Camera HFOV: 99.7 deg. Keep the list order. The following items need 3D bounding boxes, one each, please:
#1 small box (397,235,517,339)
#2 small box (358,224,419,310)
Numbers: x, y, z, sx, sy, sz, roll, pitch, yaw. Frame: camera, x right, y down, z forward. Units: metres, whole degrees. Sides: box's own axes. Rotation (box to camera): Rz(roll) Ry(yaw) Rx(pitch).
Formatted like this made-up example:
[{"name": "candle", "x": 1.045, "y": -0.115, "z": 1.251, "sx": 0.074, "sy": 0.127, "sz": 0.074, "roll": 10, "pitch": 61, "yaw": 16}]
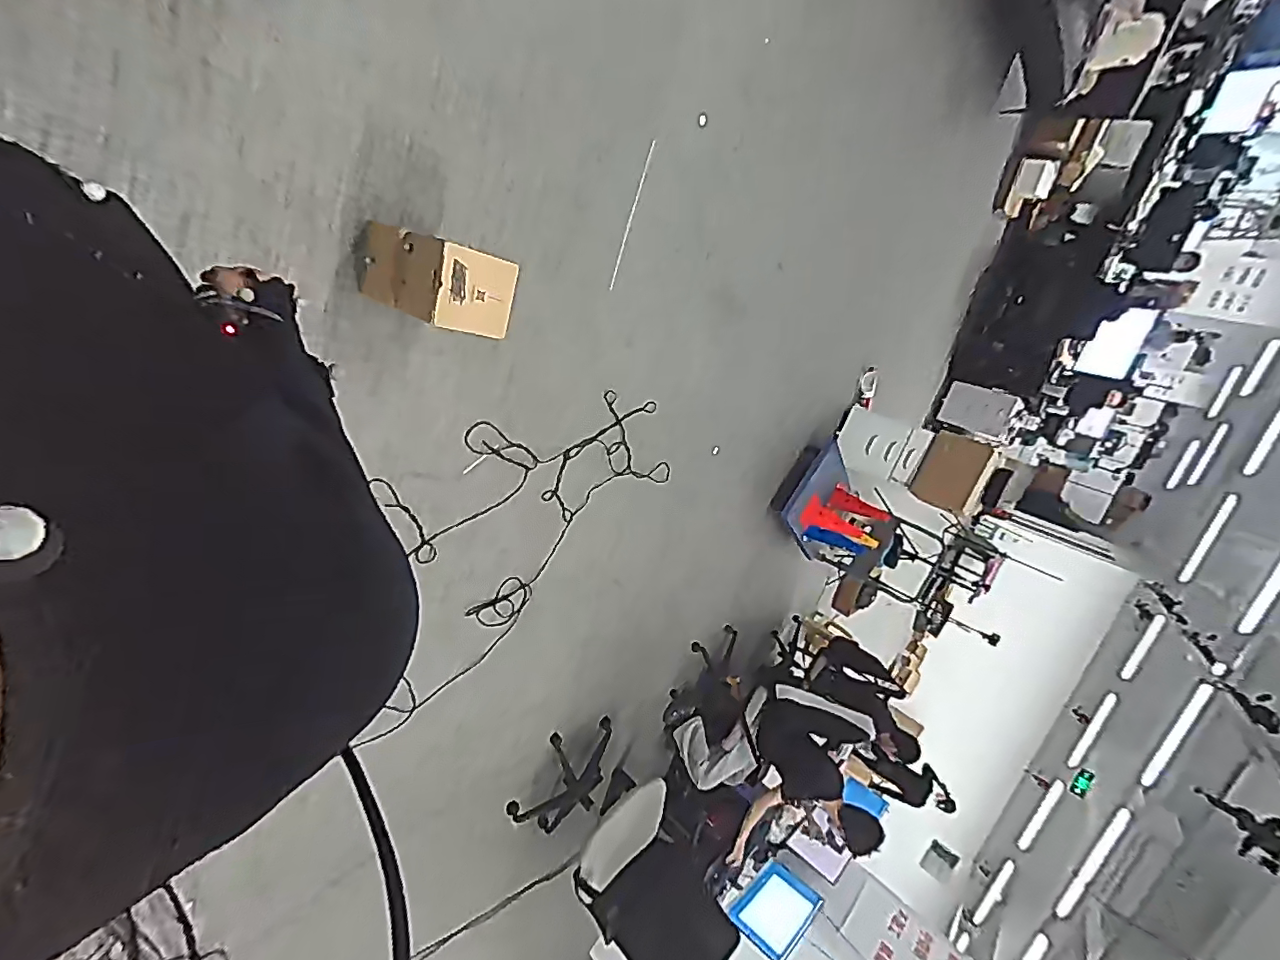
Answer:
[{"name": "small box", "x": -0.398, "y": -0.417, "z": 1.165, "sx": 0.179, "sy": 0.176, "sz": 0.168, "roll": -3, "pitch": 115, "yaw": -51}, {"name": "small box", "x": -0.522, "y": -0.481, "z": 1.253, "sx": 0.179, "sy": 0.176, "sz": 0.168, "roll": -3, "pitch": 114, "yaw": -49}]
